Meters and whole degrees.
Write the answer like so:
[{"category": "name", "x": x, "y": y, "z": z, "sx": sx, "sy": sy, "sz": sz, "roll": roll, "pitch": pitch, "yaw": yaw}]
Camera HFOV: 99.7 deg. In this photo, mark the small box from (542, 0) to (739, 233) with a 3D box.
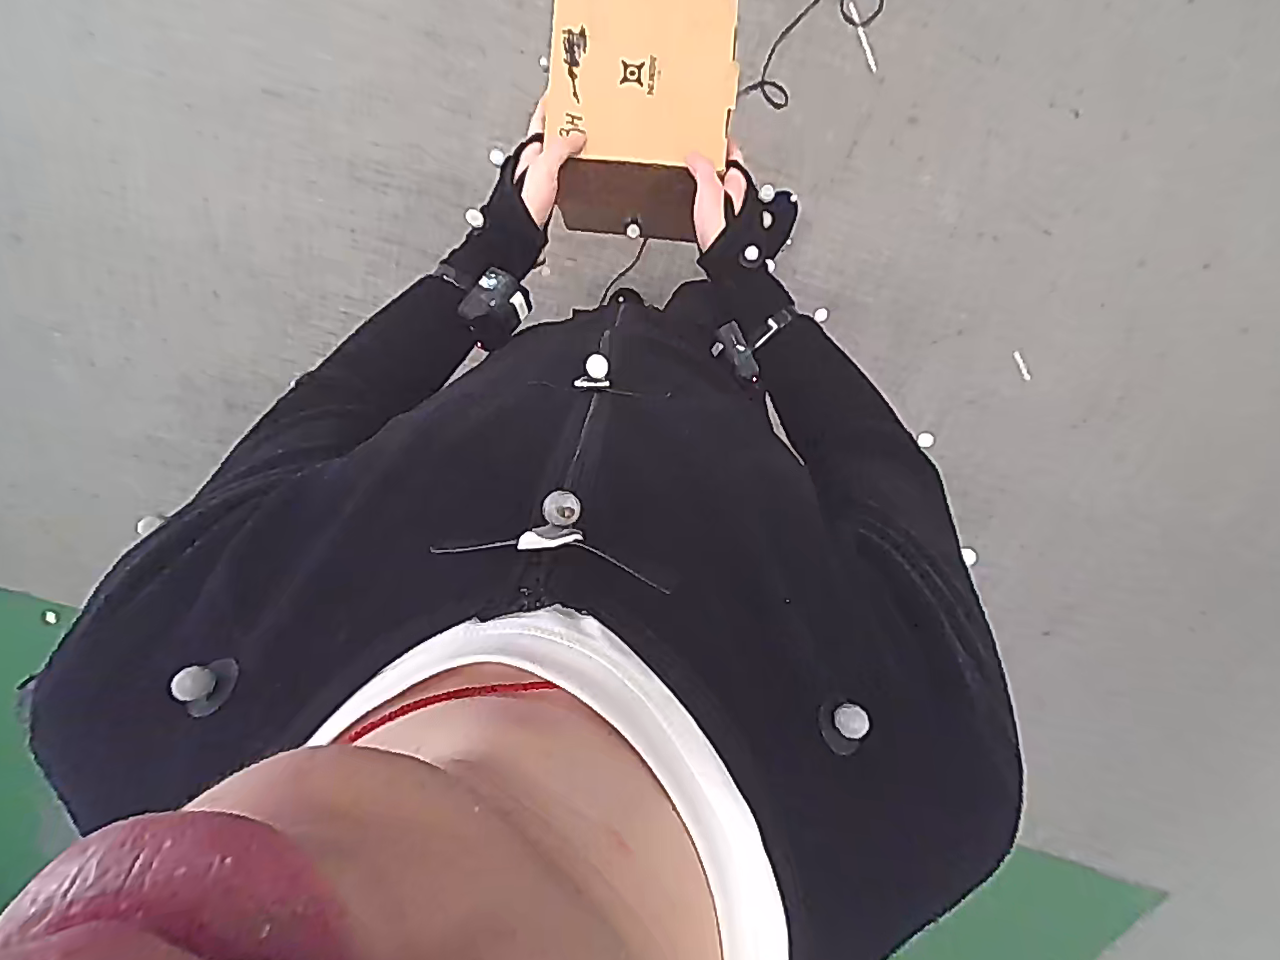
[{"category": "small box", "x": -0.002, "y": -0.389, "z": 0.586, "sx": 0.179, "sy": 0.176, "sz": 0.168, "roll": 5, "pitch": 90, "yaw": -2}]
